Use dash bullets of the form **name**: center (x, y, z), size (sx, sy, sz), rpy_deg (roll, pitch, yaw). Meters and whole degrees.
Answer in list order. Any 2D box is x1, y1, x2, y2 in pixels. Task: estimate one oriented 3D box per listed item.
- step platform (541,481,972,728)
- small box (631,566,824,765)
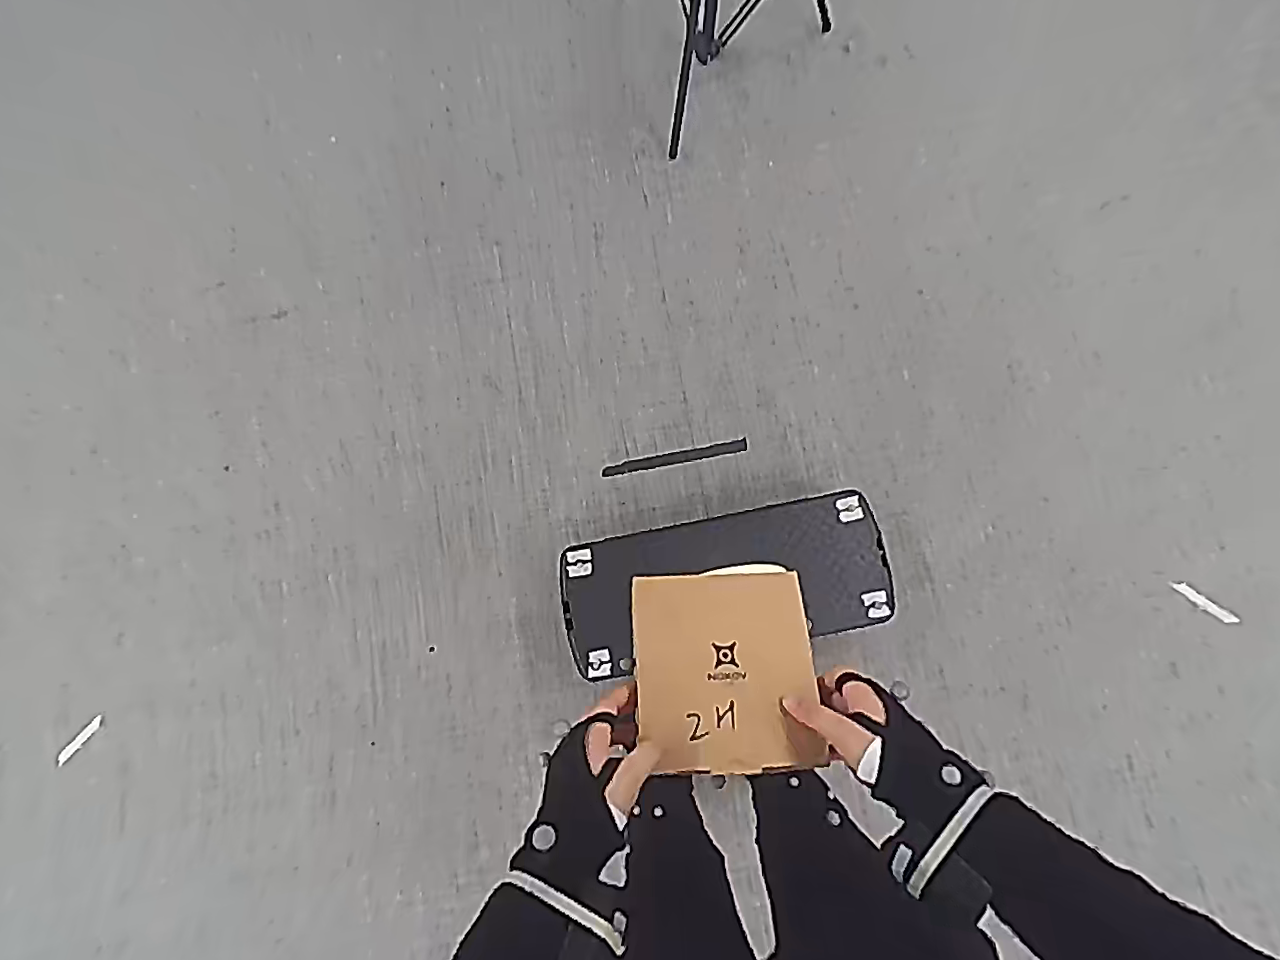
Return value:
- **step platform**: center (0.183, 0.213, 0.960), size (0.684, 0.204, 0.286), rpy_deg (-12, 80, -1)
- **small box**: center (0.075, 0.202, 0.575), size (0.168, 0.176, 0.179), rpy_deg (-2, 63, -2)
